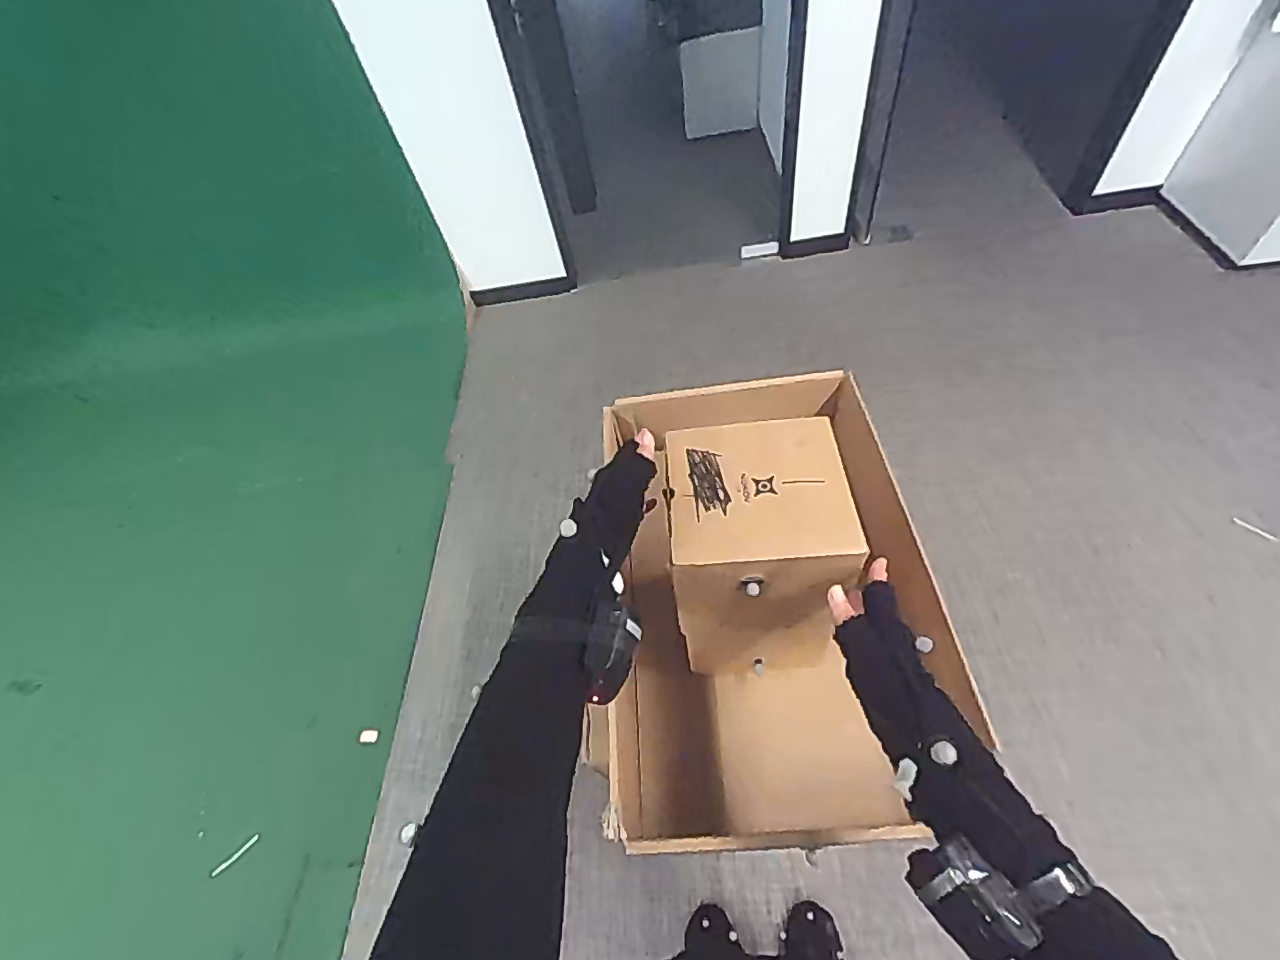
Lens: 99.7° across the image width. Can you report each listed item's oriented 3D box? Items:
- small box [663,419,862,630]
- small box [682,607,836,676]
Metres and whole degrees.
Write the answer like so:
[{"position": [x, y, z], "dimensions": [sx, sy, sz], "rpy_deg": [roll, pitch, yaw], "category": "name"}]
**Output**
[{"position": [0.121, 0.055, 0.590], "dimensions": [0.179, 0.176, 0.168], "rpy_deg": [-4, 53, 5], "category": "small box"}, {"position": [0.141, 0.150, 0.722], "dimensions": [0.179, 0.176, 0.168], "rpy_deg": [-6, 51, 4], "category": "small box"}]
